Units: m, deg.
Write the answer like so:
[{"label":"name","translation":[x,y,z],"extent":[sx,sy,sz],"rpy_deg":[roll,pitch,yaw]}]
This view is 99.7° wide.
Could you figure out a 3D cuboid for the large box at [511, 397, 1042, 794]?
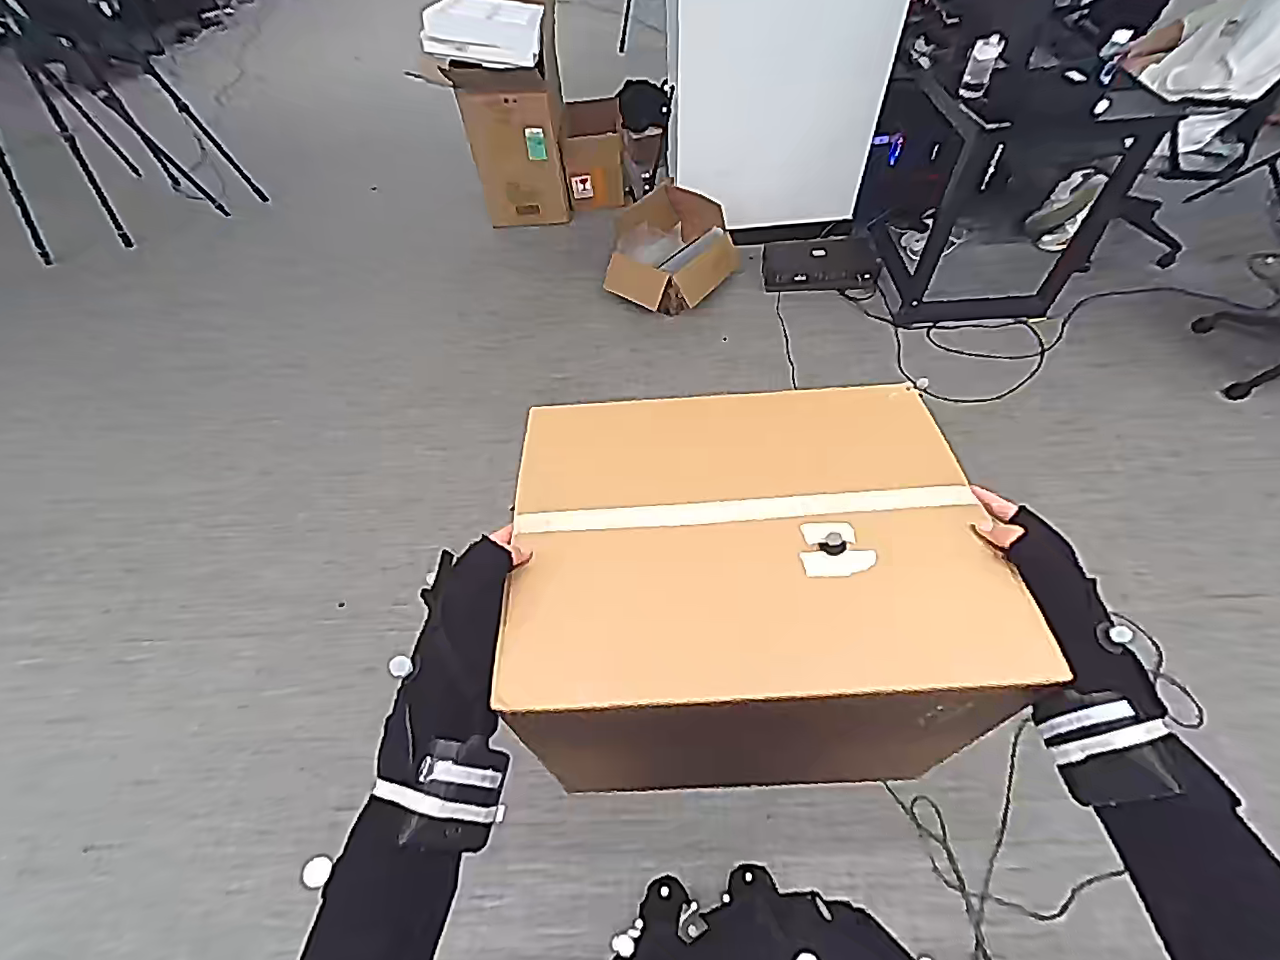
[{"label":"large box","translation":[0.100,0.136,0.605],"extent":[0.408,0.320,0.320],"rpy_deg":[-4,50,1]}]
